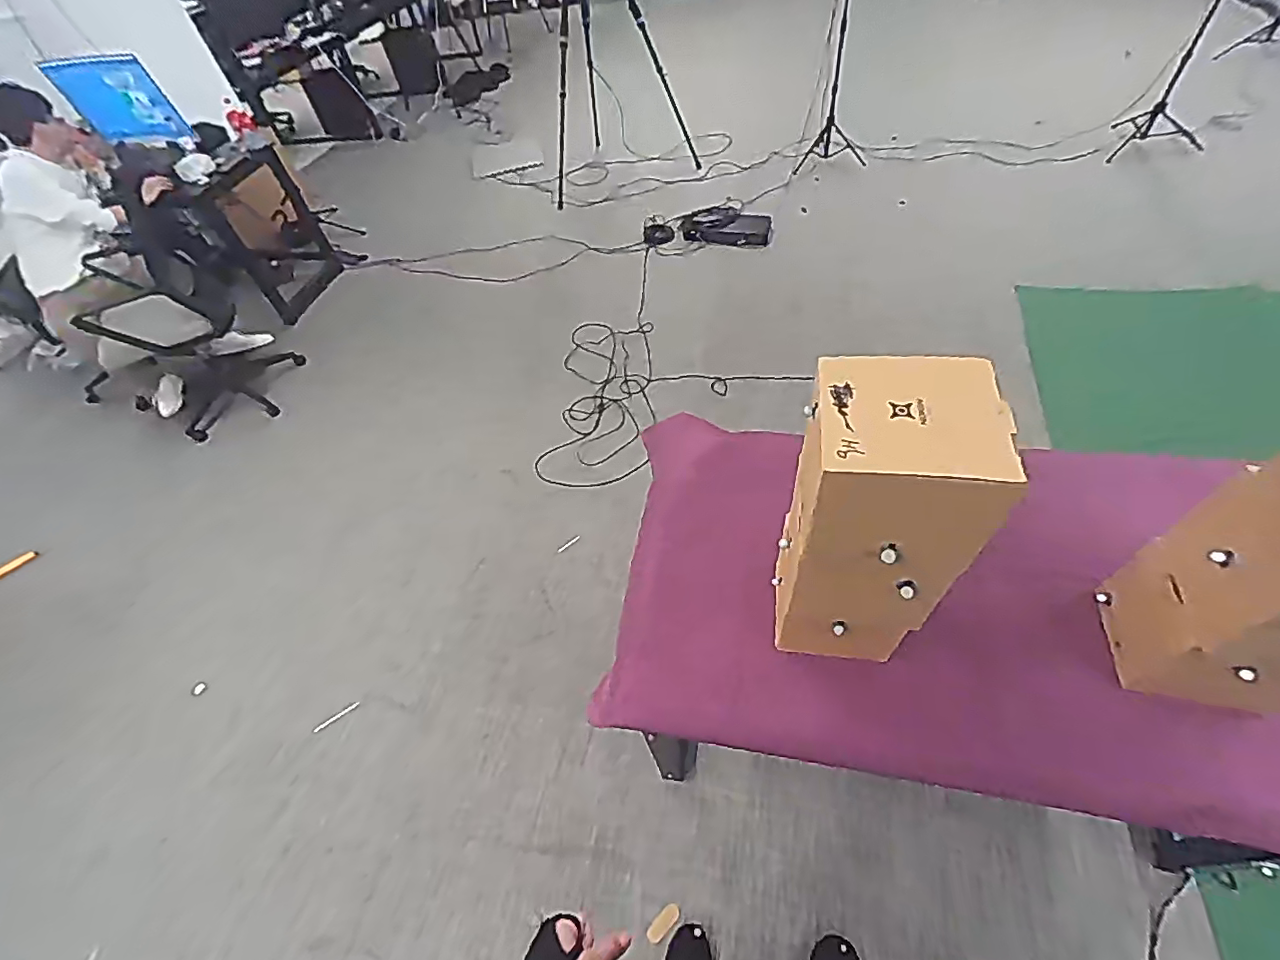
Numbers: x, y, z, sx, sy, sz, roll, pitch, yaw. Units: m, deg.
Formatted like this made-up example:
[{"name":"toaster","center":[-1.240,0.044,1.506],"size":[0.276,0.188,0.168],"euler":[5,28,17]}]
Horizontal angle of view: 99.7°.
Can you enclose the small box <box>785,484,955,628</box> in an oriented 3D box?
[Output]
[{"name":"small box","center":[0.296,0.086,0.732],"size":[0.179,0.176,0.168],"euler":[4,53,13]}]

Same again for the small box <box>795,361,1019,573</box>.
[{"name":"small box","center":[0.275,-0.011,0.602],"size":[0.179,0.176,0.168],"euler":[4,53,12]}]

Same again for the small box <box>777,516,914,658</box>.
[{"name":"small box","center":[0.318,0.175,0.870],"size":[0.179,0.176,0.168],"euler":[3,53,12]}]

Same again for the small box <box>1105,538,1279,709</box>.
[{"name":"small box","center":[0.803,0.204,0.761],"size":[0.179,0.176,0.168],"euler":[7,54,14]}]
